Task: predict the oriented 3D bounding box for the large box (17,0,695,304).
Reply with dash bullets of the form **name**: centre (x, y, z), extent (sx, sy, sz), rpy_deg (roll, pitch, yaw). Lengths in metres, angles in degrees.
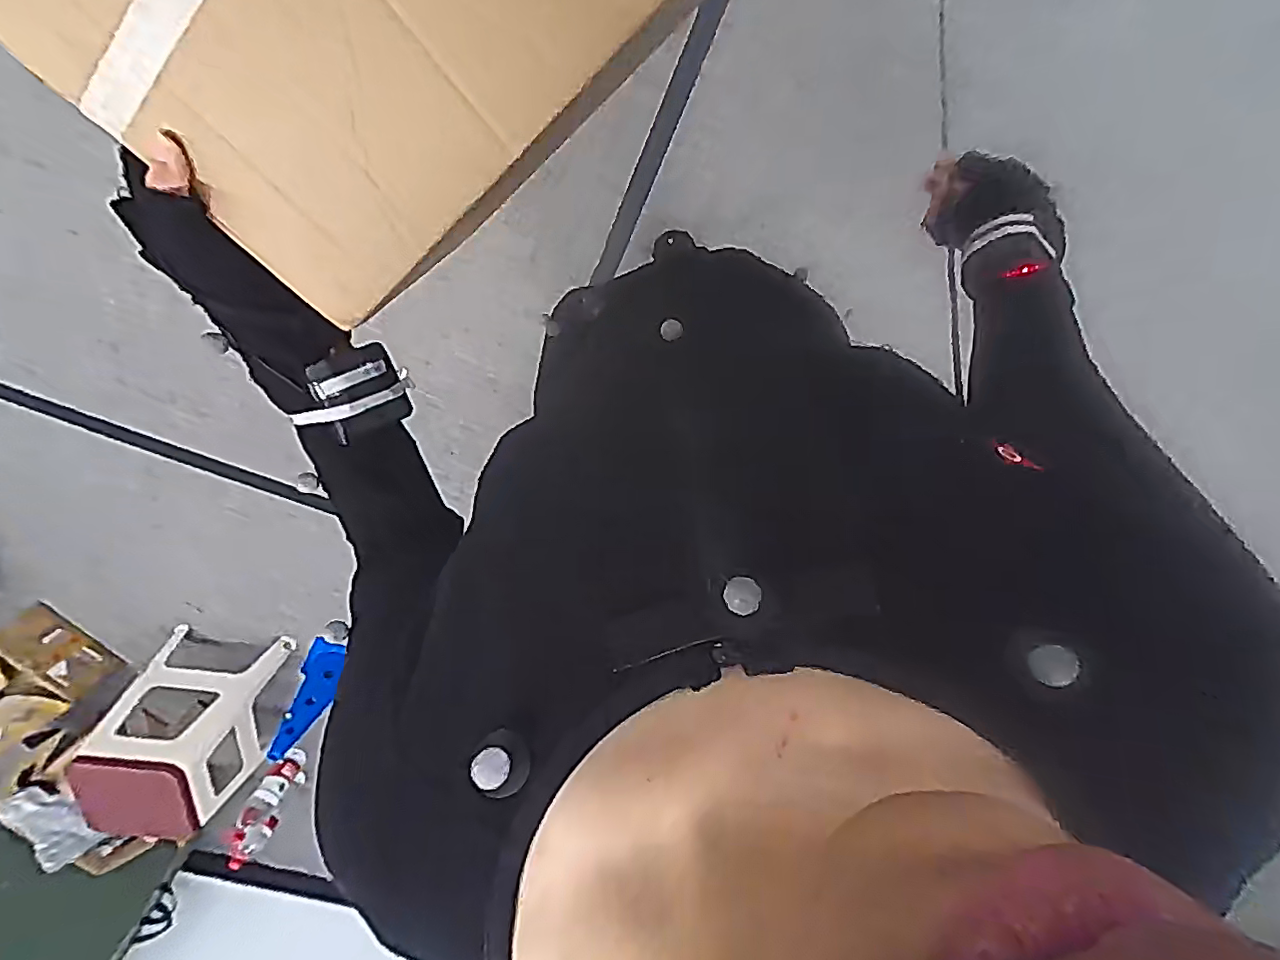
- **large box**: centre (-0.143, -0.402, 0.368), extent (0.408, 0.320, 0.320), rpy_deg (-35, 118, 20)
